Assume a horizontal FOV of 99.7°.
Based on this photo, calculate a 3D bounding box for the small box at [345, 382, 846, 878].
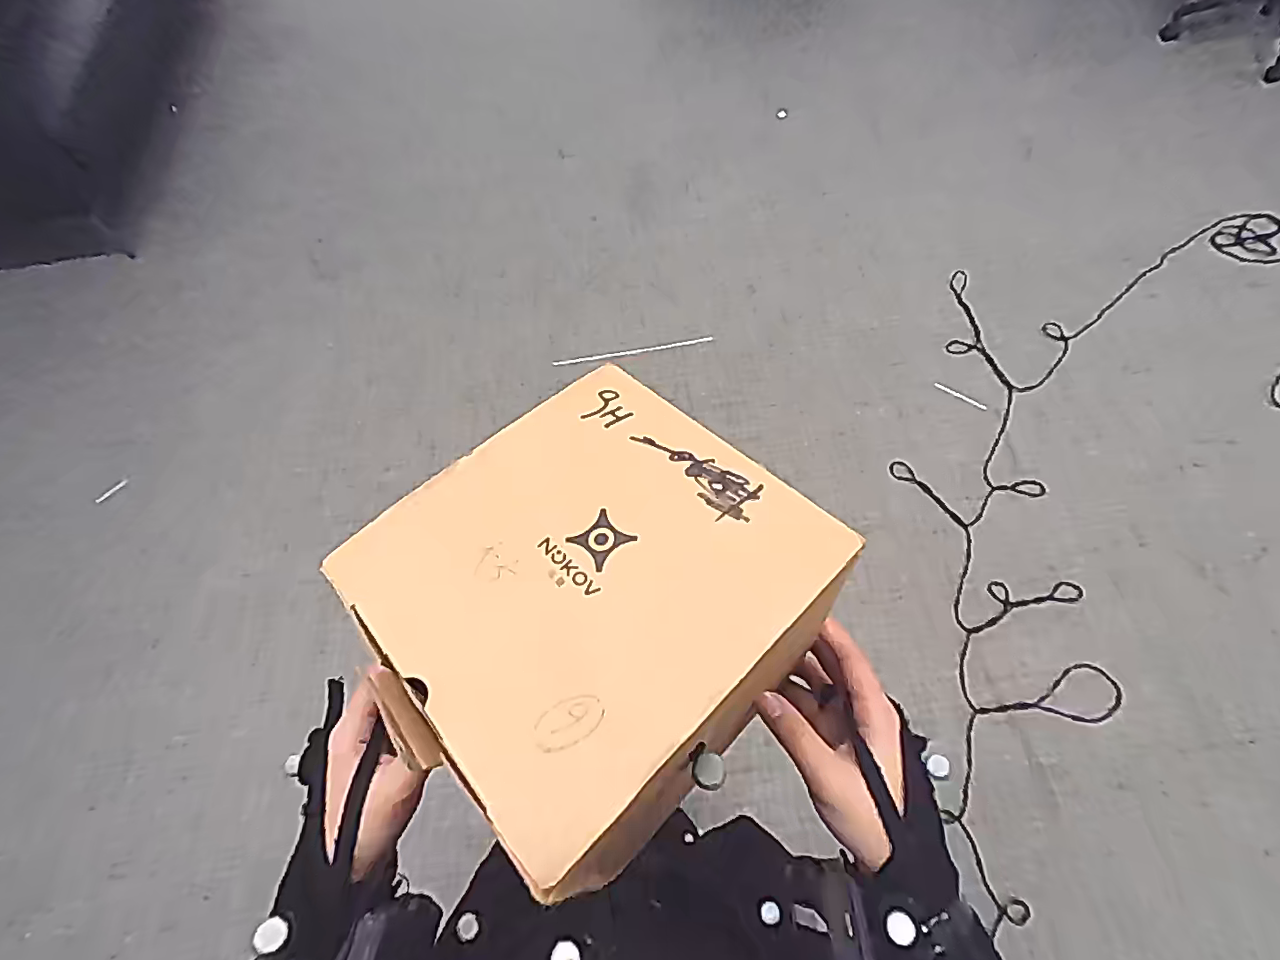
[{"bbox_3d":[-0.017,0.085,0.310,0.179,0.176,0.168,-40,61,-21],"label":"small box"}]
